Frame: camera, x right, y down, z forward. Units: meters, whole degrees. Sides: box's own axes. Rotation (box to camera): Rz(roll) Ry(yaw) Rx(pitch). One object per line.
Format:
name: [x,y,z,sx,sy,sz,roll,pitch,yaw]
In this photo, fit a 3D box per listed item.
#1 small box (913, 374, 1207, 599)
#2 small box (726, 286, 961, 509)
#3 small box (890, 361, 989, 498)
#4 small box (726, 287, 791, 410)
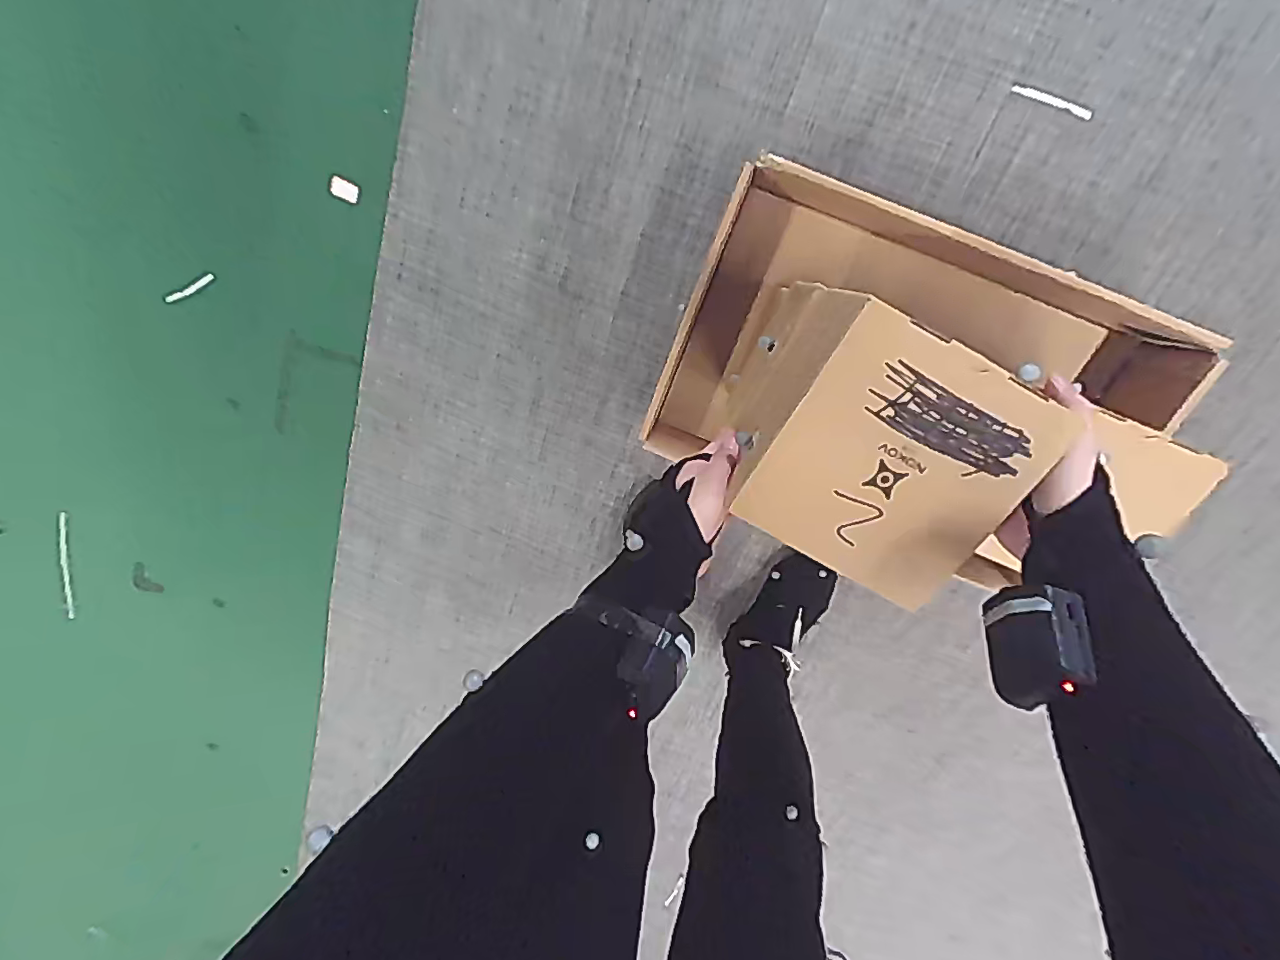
small box: [0.450,-0.005,0.621,0.168,0.176,0.179,24,113,0]
small box: [0.206,-0.103,0.614,0.168,0.176,0.179,27,111,-3]
small box: [0.473,-0.059,0.774,0.168,0.176,0.179,22,113,0]
small box: [0.231,-0.159,0.767,0.168,0.176,0.179,20,113,-3]
